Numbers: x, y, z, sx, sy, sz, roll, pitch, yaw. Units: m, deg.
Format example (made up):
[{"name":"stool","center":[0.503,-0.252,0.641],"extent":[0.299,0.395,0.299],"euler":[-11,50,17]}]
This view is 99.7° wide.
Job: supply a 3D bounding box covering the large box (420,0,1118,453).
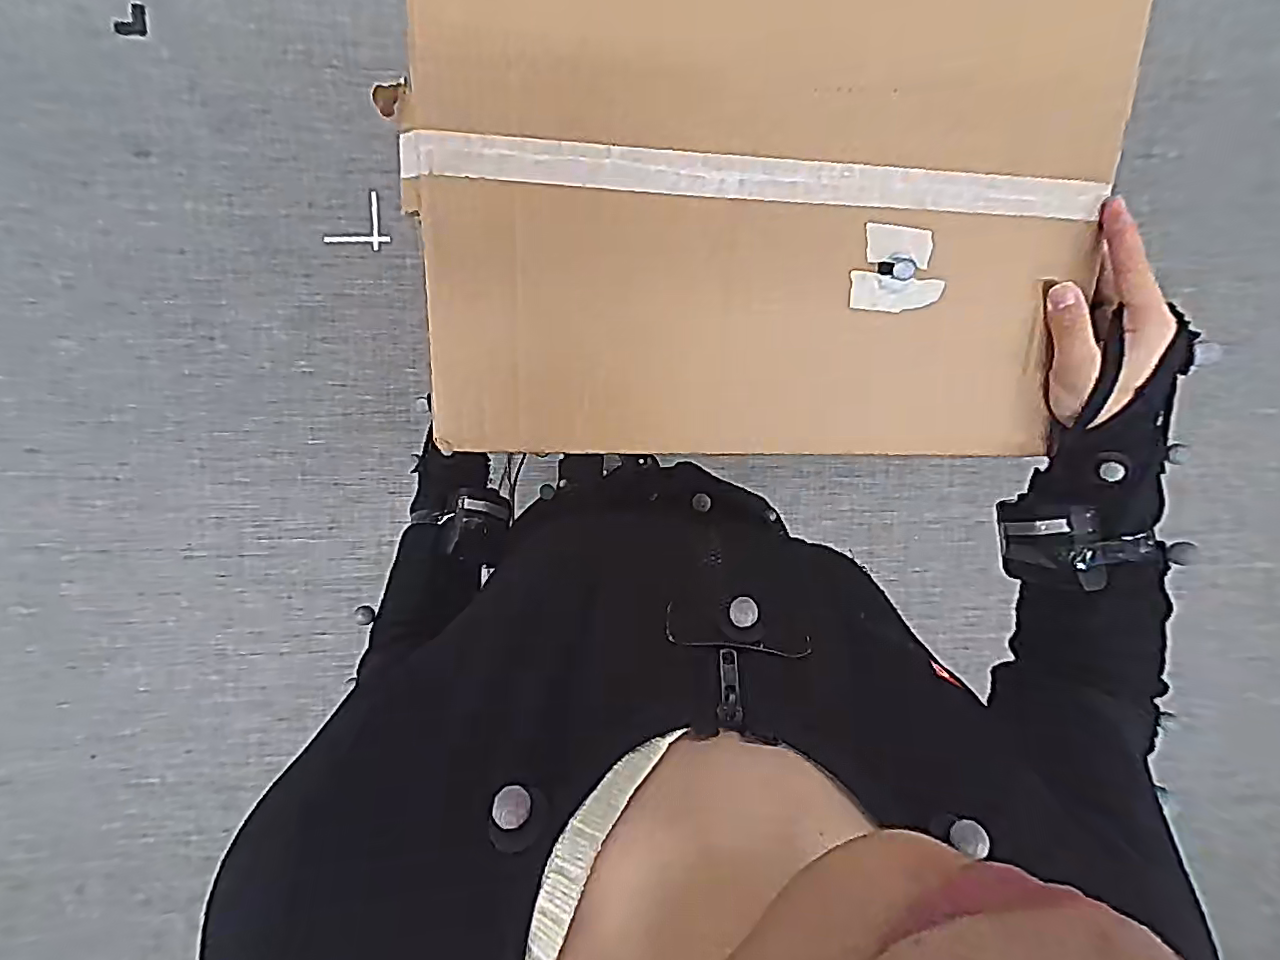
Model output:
[{"name":"large box","center":[0.061,-0.205,0.460],"extent":[0.408,0.320,0.320],"euler":[-1,104,-9]}]
